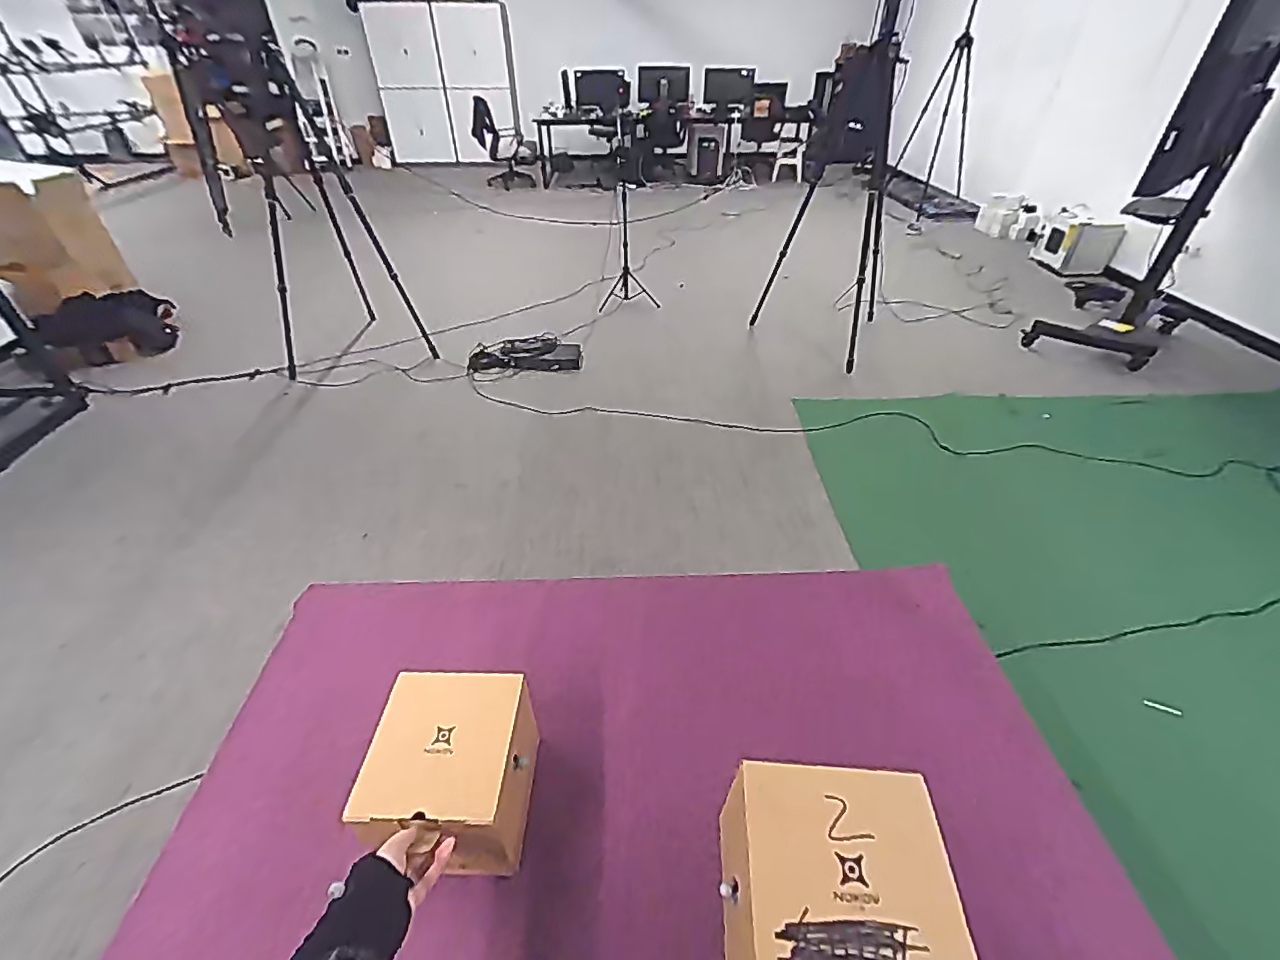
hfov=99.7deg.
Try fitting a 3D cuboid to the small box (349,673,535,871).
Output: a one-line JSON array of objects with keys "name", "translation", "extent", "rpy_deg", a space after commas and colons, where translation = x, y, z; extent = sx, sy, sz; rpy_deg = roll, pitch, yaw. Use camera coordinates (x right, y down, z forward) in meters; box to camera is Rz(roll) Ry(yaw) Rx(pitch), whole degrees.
[{"name": "small box", "translation": [-0.236, 0.376, 0.703], "extent": [0.168, 0.176, 0.179], "rpy_deg": [1, 40, 1]}]
